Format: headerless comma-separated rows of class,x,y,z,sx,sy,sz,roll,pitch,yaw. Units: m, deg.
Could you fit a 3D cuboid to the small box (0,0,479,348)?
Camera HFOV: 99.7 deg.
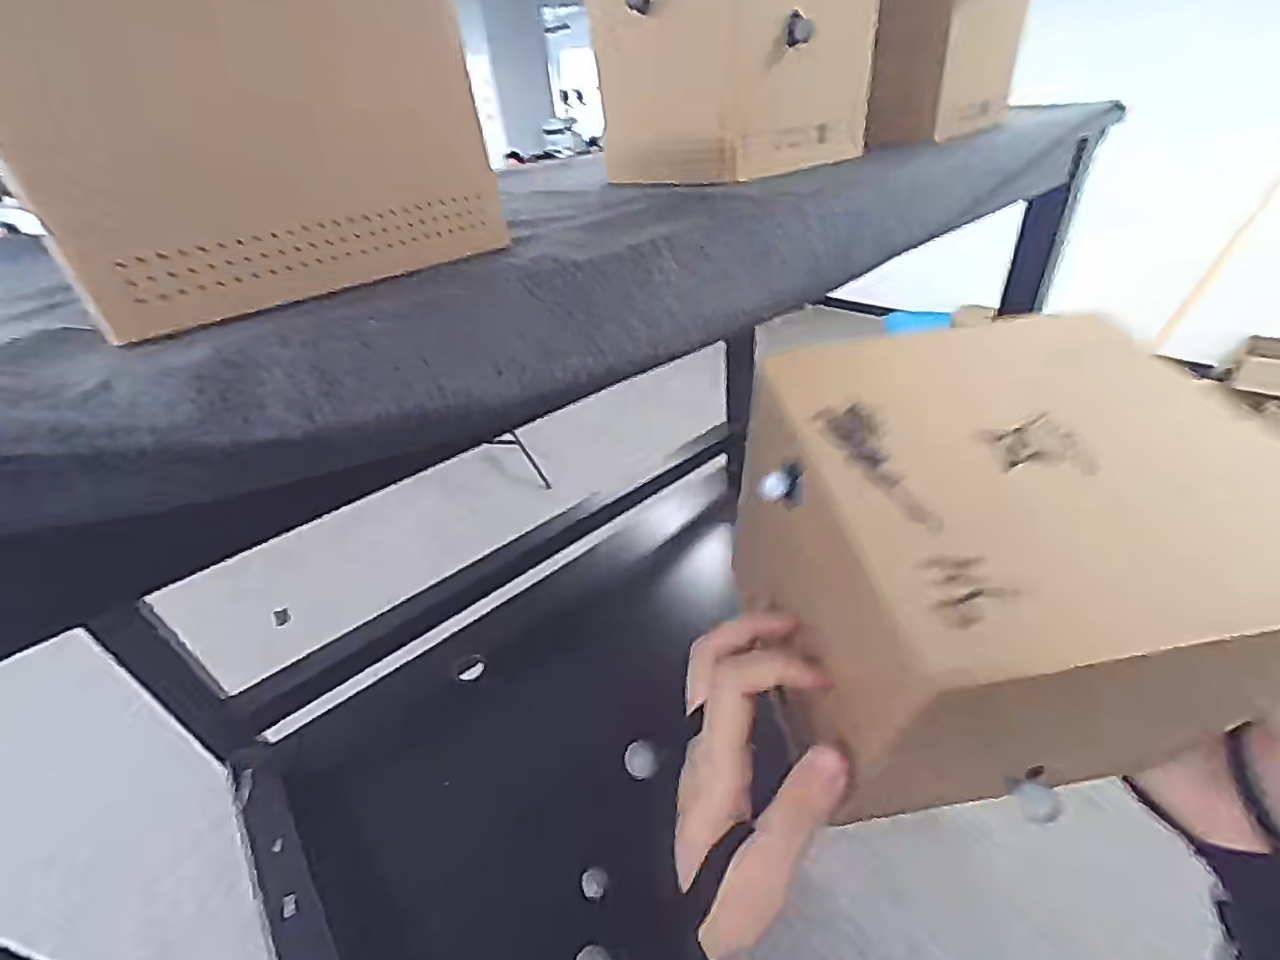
small box,-0.195,-0.178,0.251,0.168,0.176,0.179,24,45,39

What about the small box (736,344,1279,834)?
small box,0.155,0.056,0.271,0.179,0.176,0.168,-7,45,-2

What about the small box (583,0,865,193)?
small box,0.075,-0.352,0.461,0.168,0.176,0.179,-28,38,-28
